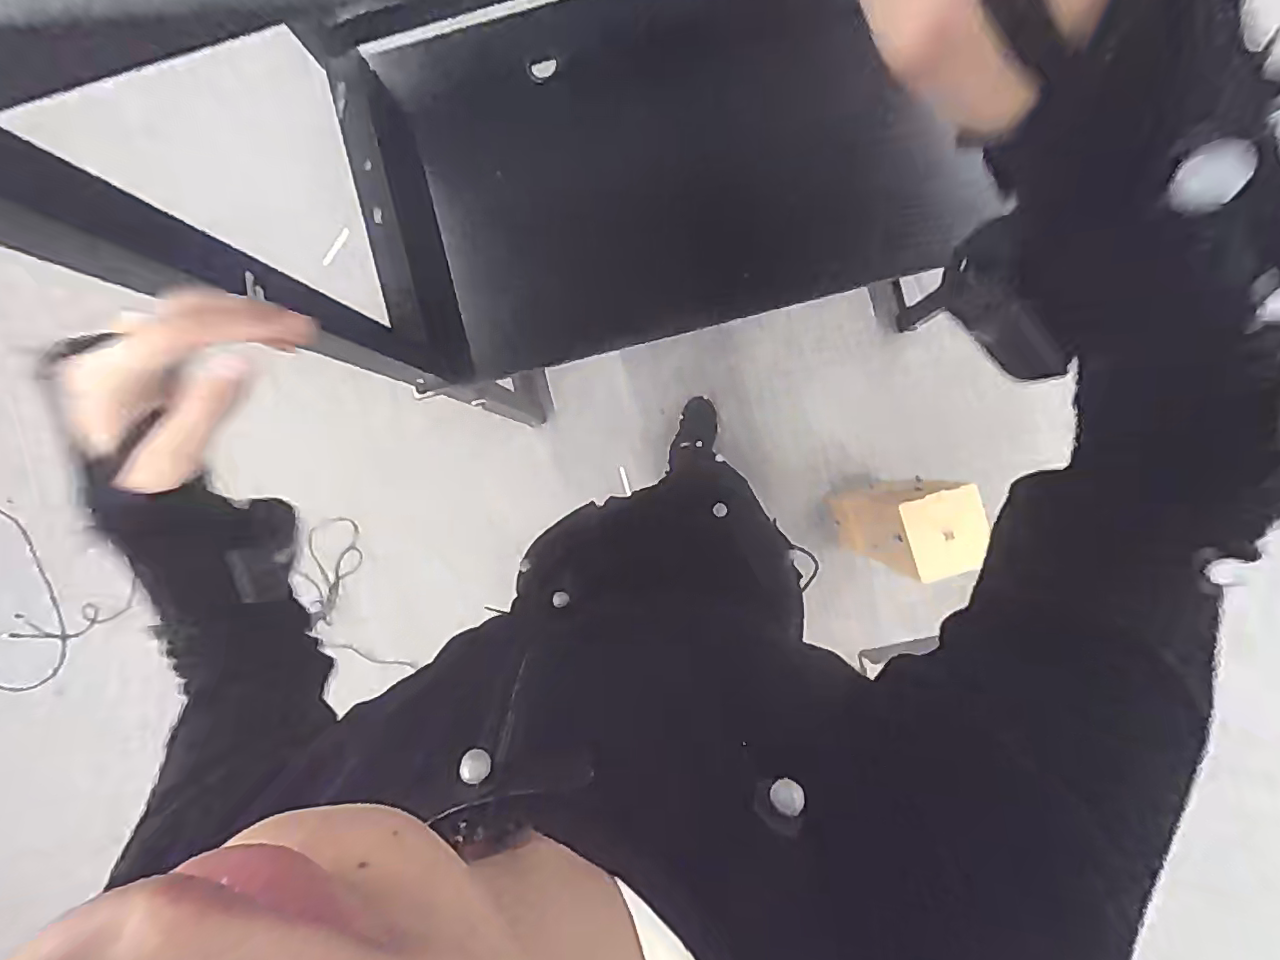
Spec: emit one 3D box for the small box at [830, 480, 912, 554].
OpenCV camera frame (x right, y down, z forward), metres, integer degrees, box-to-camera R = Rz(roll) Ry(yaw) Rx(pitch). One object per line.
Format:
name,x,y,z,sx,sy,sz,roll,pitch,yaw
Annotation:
small box,0.659,0.098,1.518,0.179,0.176,0.168,-16,89,4

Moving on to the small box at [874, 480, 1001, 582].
small box,0.644,0.106,1.191,0.168,0.176,0.179,-17,90,4
